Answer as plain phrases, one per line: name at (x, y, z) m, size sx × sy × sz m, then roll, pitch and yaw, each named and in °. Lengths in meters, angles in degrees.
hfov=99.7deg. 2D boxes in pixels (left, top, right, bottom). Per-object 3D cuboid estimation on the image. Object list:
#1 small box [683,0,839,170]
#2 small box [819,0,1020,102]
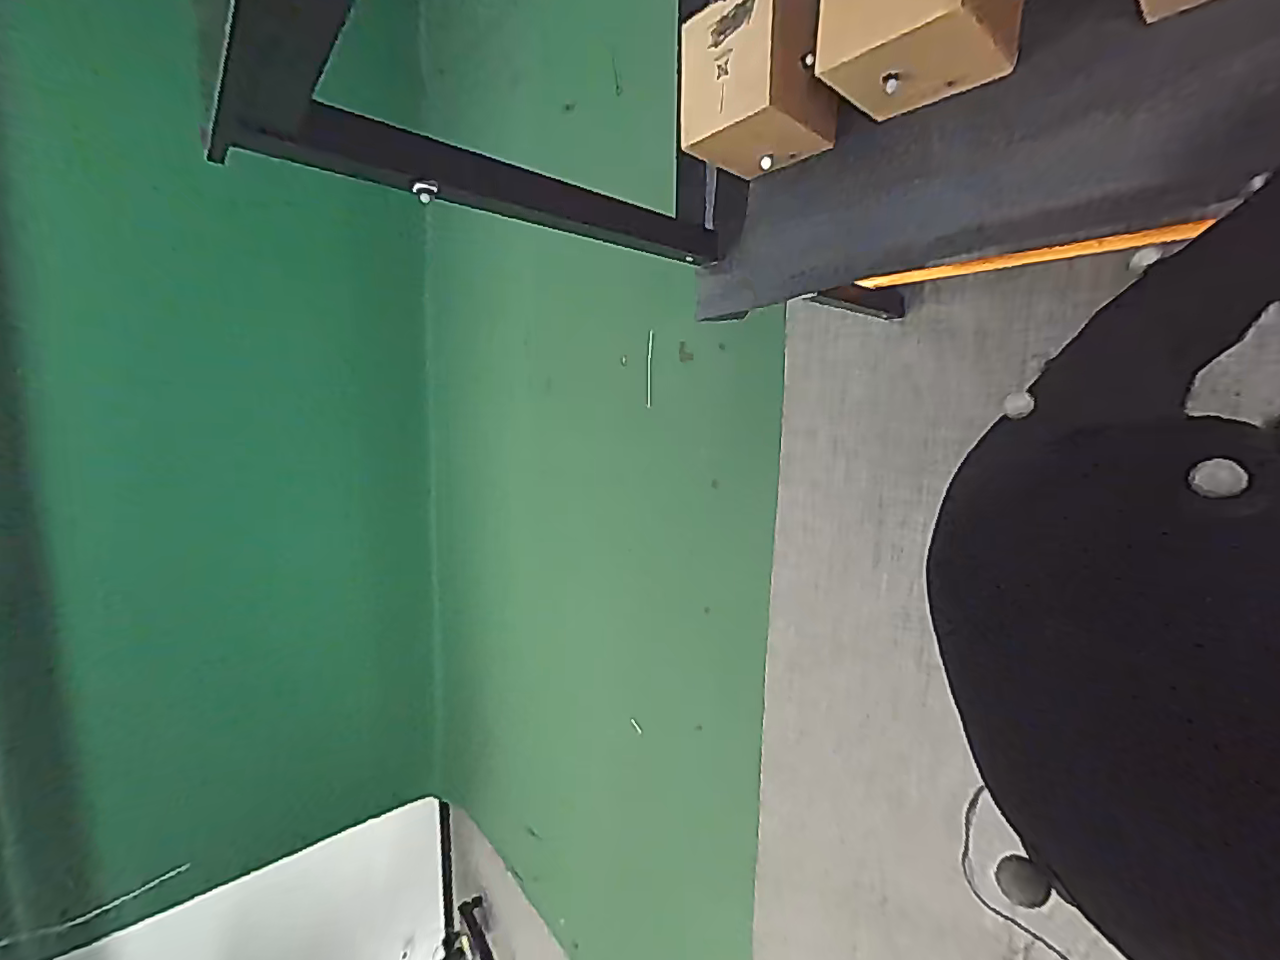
small box at (0.182, -0.599, 0.804) m, size 0.168 × 0.176 × 0.179 m, roll 9°, pitch 102°, yaw 48°
small box at (0.332, -0.583, 0.635) m, size 0.168 × 0.176 × 0.179 m, roll 11°, pitch 102°, yaw 48°
